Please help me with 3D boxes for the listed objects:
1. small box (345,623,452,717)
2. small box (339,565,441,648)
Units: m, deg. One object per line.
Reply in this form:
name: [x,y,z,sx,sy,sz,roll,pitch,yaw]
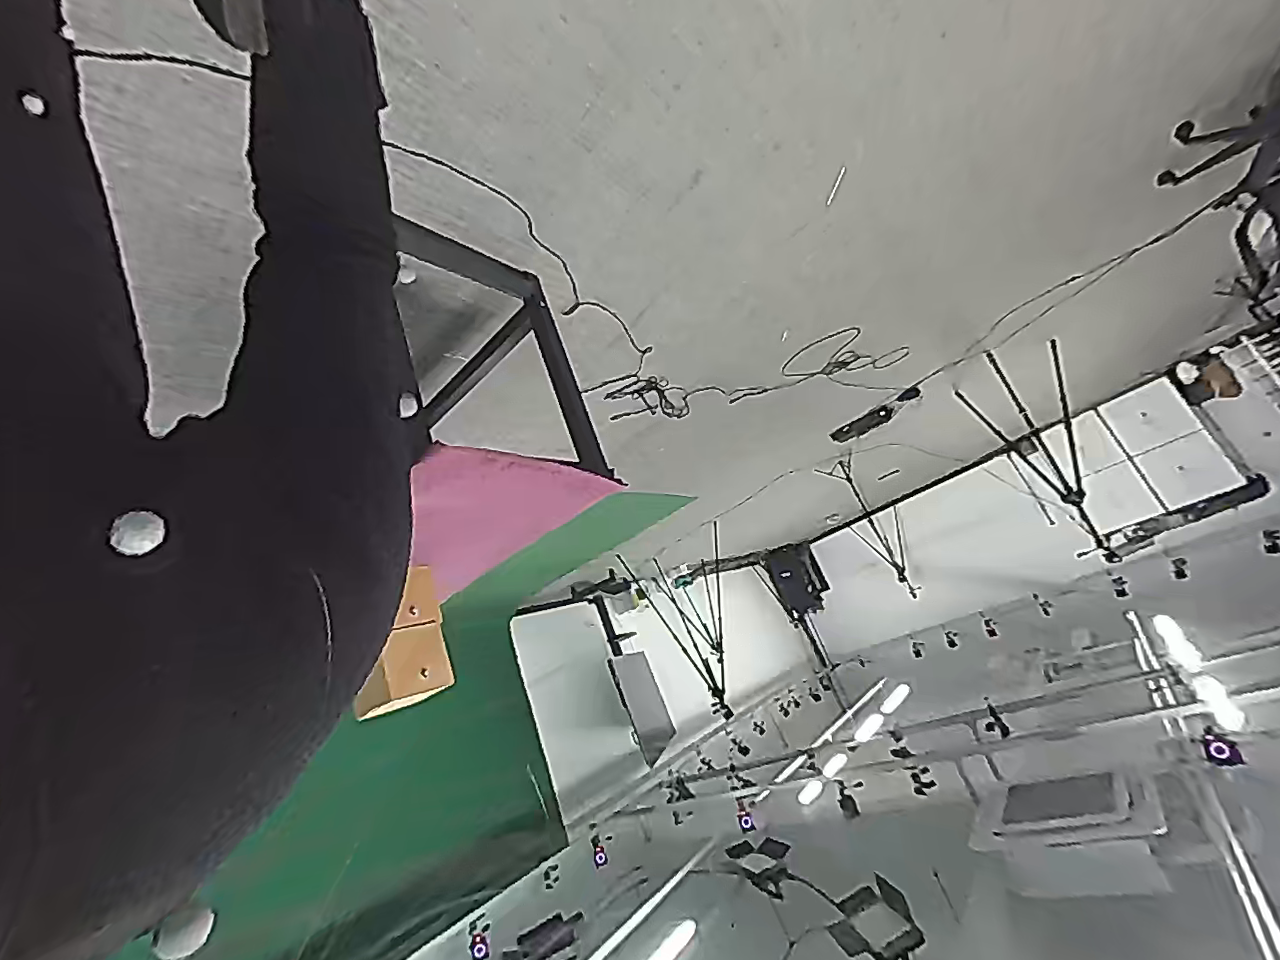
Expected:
small box: [-0.618,0.476,1.380,0.168,0.176,0.179,-33,158,28]
small box: [-0.671,0.334,1.446,0.168,0.176,0.179,-32,159,27]
